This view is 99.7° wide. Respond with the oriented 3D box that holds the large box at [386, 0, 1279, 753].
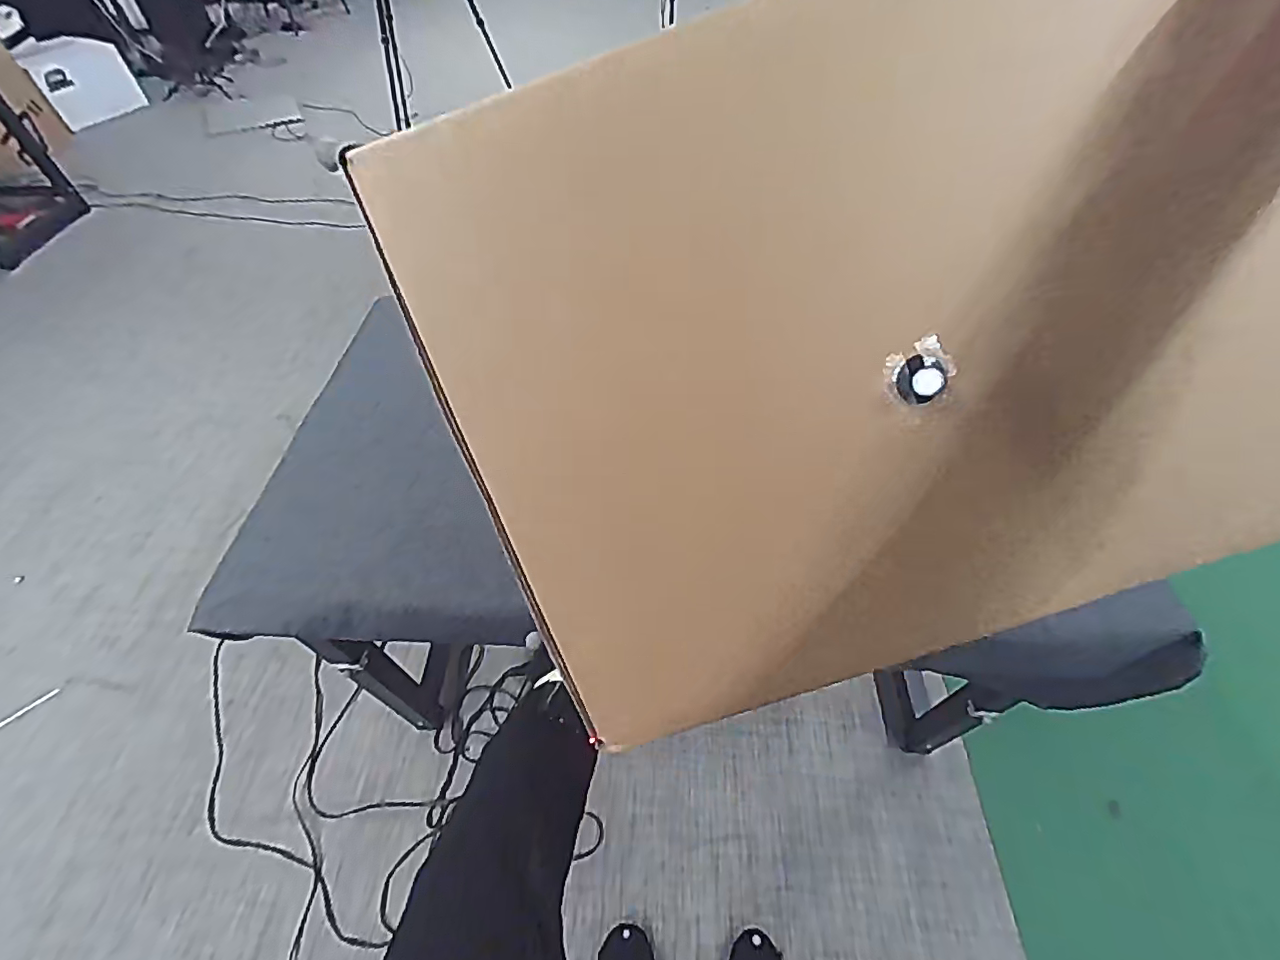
[{"bbox_3d":[0.121,-0.083,0.402,0.408,0.320,0.320,-21,14,2],"label":"large box"}]
